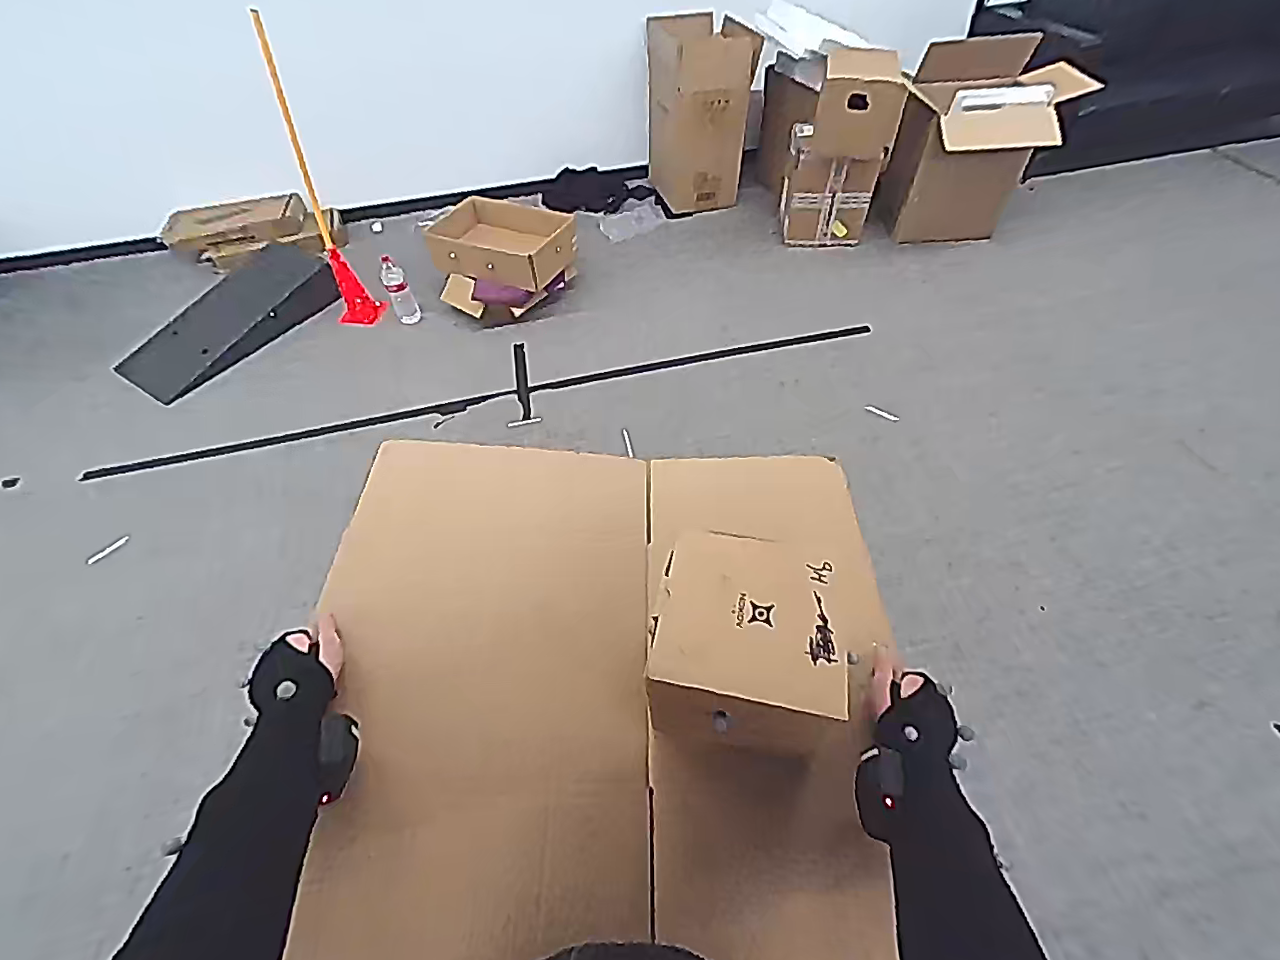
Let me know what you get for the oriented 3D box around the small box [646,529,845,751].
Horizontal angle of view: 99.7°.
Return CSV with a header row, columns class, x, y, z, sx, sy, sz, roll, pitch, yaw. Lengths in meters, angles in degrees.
class,x,y,z,sx,sy,sz,roll,pitch,yaw
small box,0.114,0.175,0.583,0.179,0.176,0.168,7,53,12
